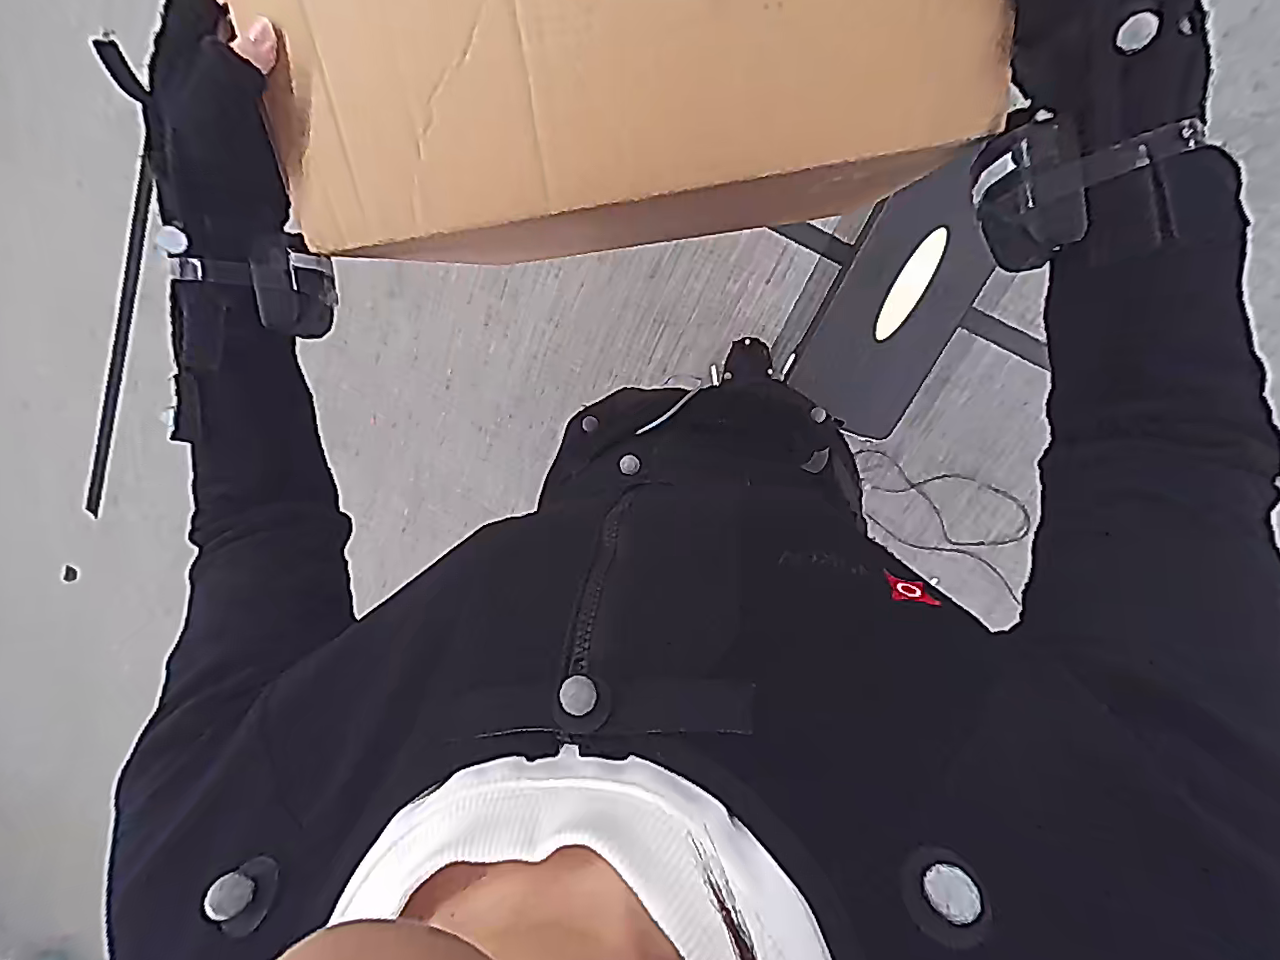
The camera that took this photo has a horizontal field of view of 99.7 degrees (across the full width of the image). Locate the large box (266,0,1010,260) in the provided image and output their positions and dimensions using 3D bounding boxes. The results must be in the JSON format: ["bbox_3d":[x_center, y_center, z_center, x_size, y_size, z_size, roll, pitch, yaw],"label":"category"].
[{"bbox_3d":[-0.005,-0.367,0.410,0.408,0.320,0.320,-5,110,11],"label":"large box"}]
